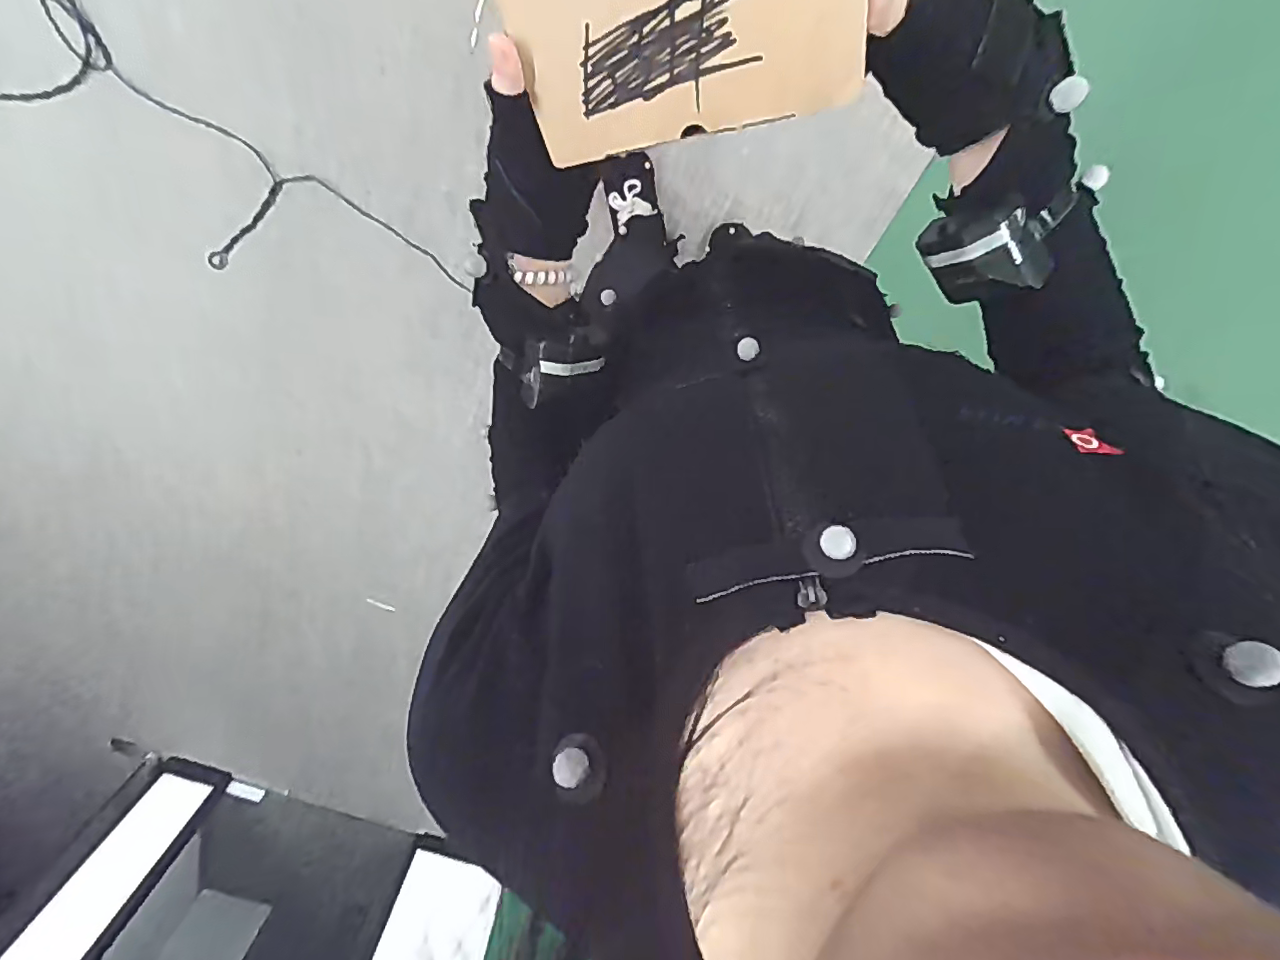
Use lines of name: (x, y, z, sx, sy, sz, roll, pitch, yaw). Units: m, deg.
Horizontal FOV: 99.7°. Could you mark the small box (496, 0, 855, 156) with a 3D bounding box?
small box: (0.022, -0.301, 0.268, 0.168, 0.176, 0.179, 0, 141, 19)
